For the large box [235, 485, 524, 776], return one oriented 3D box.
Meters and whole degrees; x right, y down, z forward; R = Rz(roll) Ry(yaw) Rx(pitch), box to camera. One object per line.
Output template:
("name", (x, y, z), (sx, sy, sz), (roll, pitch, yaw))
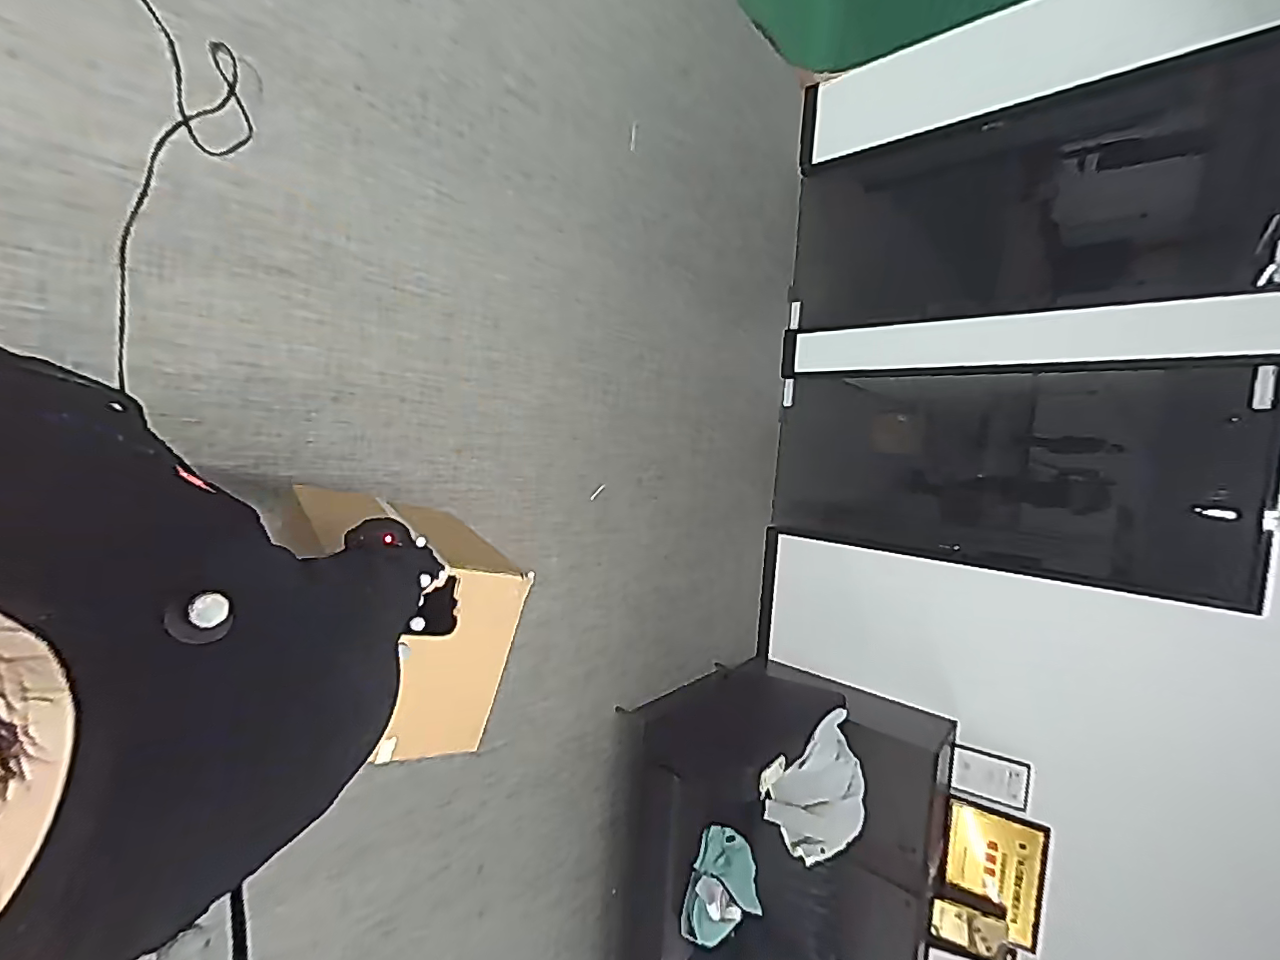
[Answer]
("large box", (-0.470, 0.233, 0.944), (0.320, 0.408, 0.320), (16, 94, -41))
